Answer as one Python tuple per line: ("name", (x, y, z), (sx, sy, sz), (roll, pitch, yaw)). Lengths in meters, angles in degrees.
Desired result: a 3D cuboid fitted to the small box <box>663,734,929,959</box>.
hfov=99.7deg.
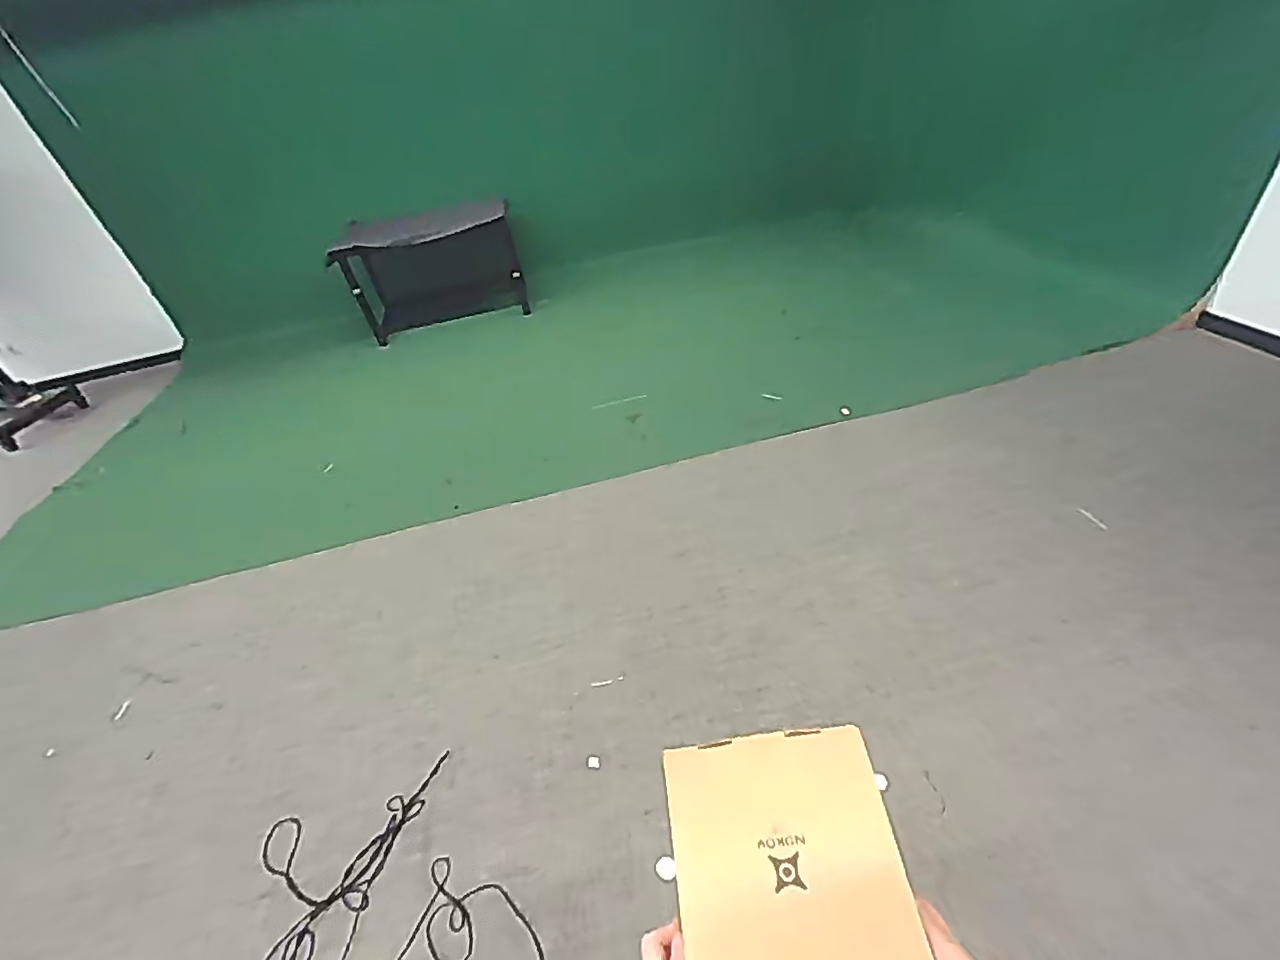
("small box", (0.118, 0.334, 0.455), (0.168, 0.176, 0.179), (-9, 51, 3))
